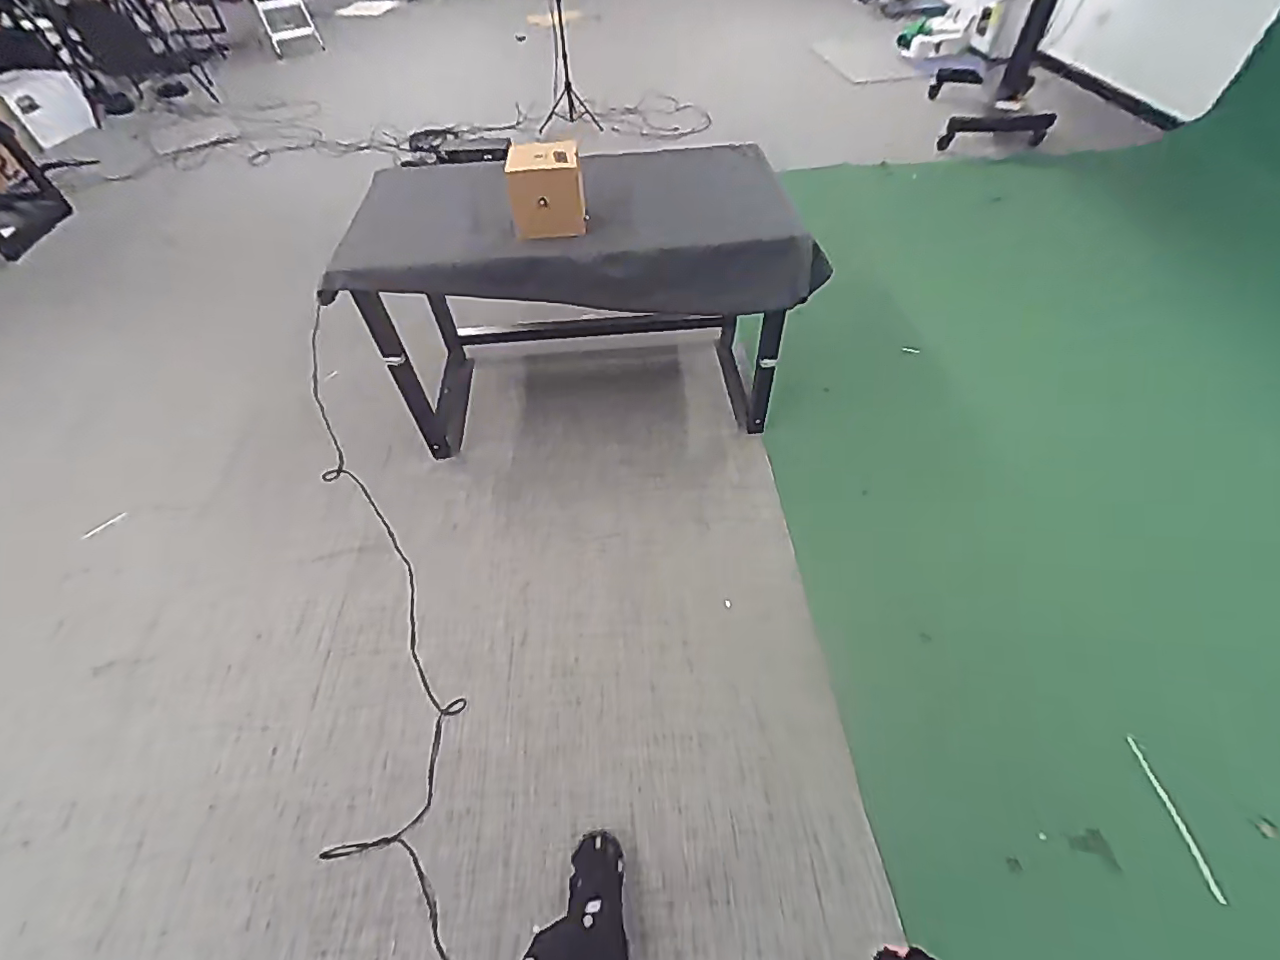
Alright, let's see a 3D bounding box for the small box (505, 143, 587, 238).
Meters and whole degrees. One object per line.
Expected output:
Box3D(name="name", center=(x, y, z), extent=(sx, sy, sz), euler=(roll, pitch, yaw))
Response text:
Box3D(name="small box", center=(-0.233, -0.743, 1.392), extent=(0.179, 0.176, 0.168), euler=(-2, 49, 1))
